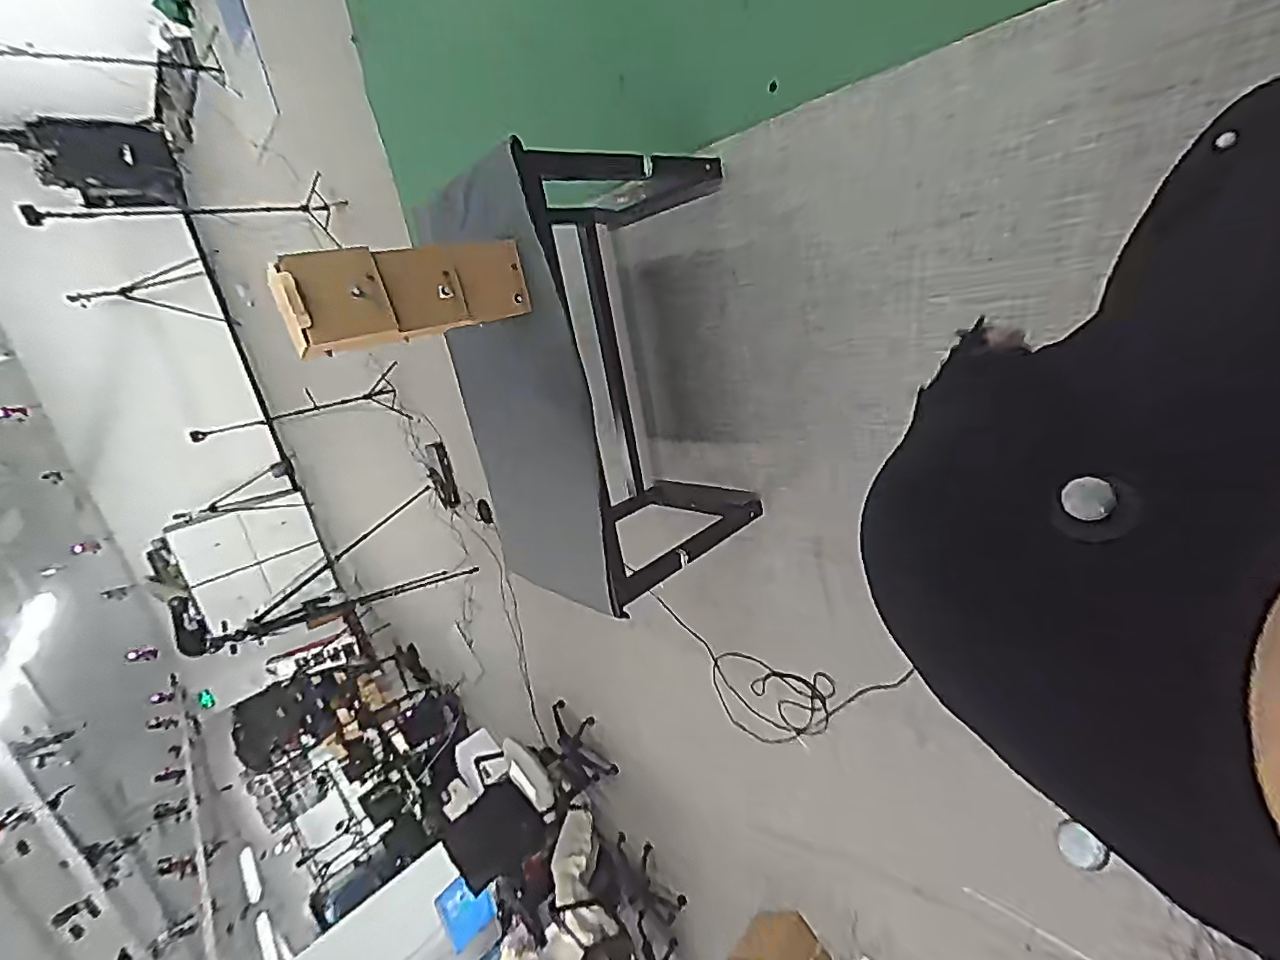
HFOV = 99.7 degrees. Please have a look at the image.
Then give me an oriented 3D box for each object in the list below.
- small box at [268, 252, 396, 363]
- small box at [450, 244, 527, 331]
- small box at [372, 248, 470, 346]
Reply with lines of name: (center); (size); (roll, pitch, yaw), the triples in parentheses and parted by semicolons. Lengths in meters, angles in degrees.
small box: (-0.619, -0.347, 1.094); (0.179, 0.176, 0.168); (0, 112, 51)
small box: (-0.388, -0.460, 1.298); (0.179, 0.176, 0.168); (11, 119, 49)
small box: (-0.504, -0.403, 1.199); (0.179, 0.176, 0.168); (4, 114, 49)
